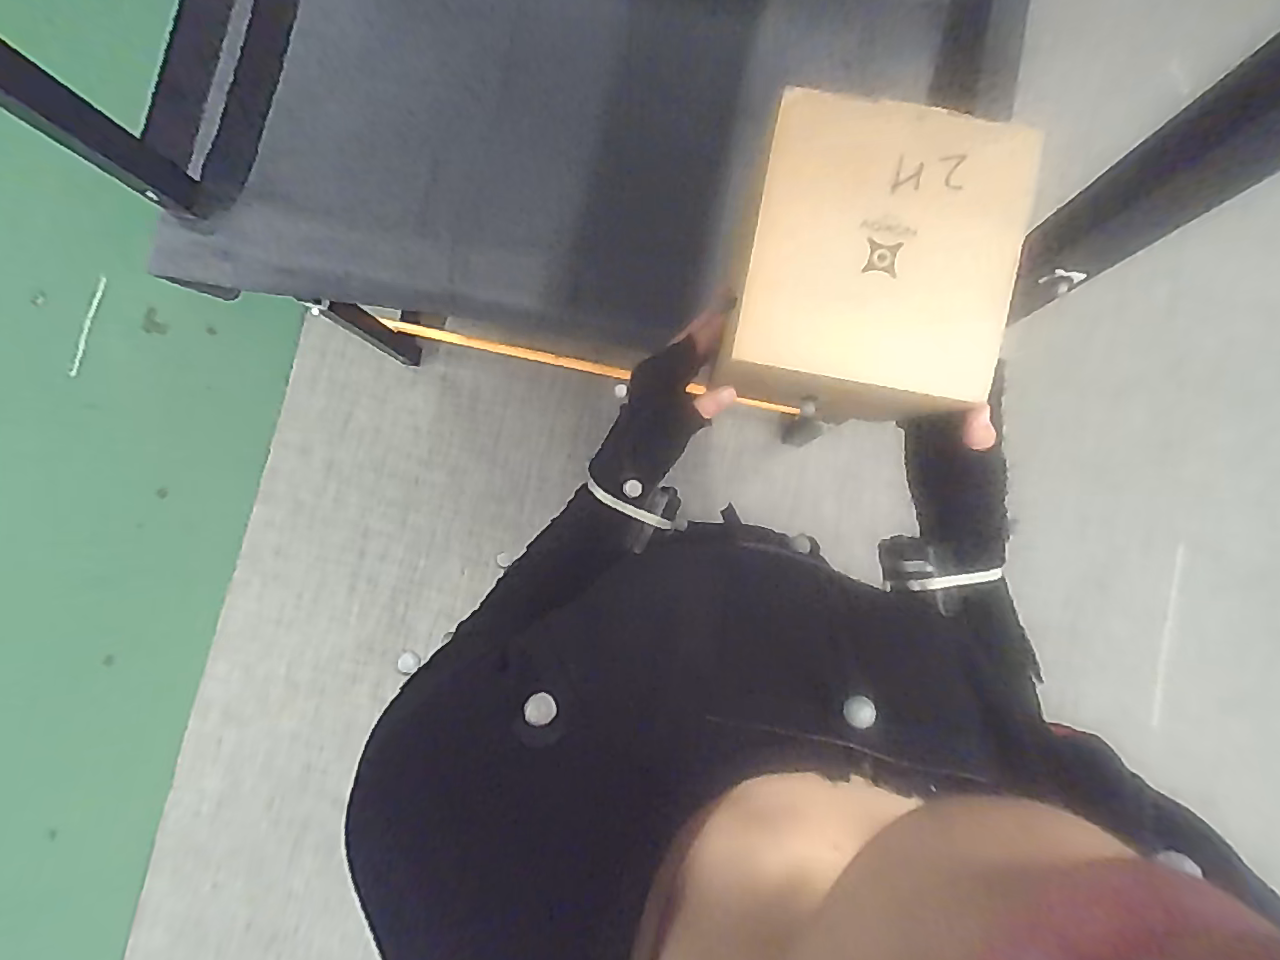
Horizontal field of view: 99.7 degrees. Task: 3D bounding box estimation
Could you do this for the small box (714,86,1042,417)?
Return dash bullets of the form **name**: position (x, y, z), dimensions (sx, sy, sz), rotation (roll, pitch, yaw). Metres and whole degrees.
- **small box**: position (0.156, -0.151, 0.420), dimensions (0.168, 0.176, 0.179), rotation (11, 92, 1)
